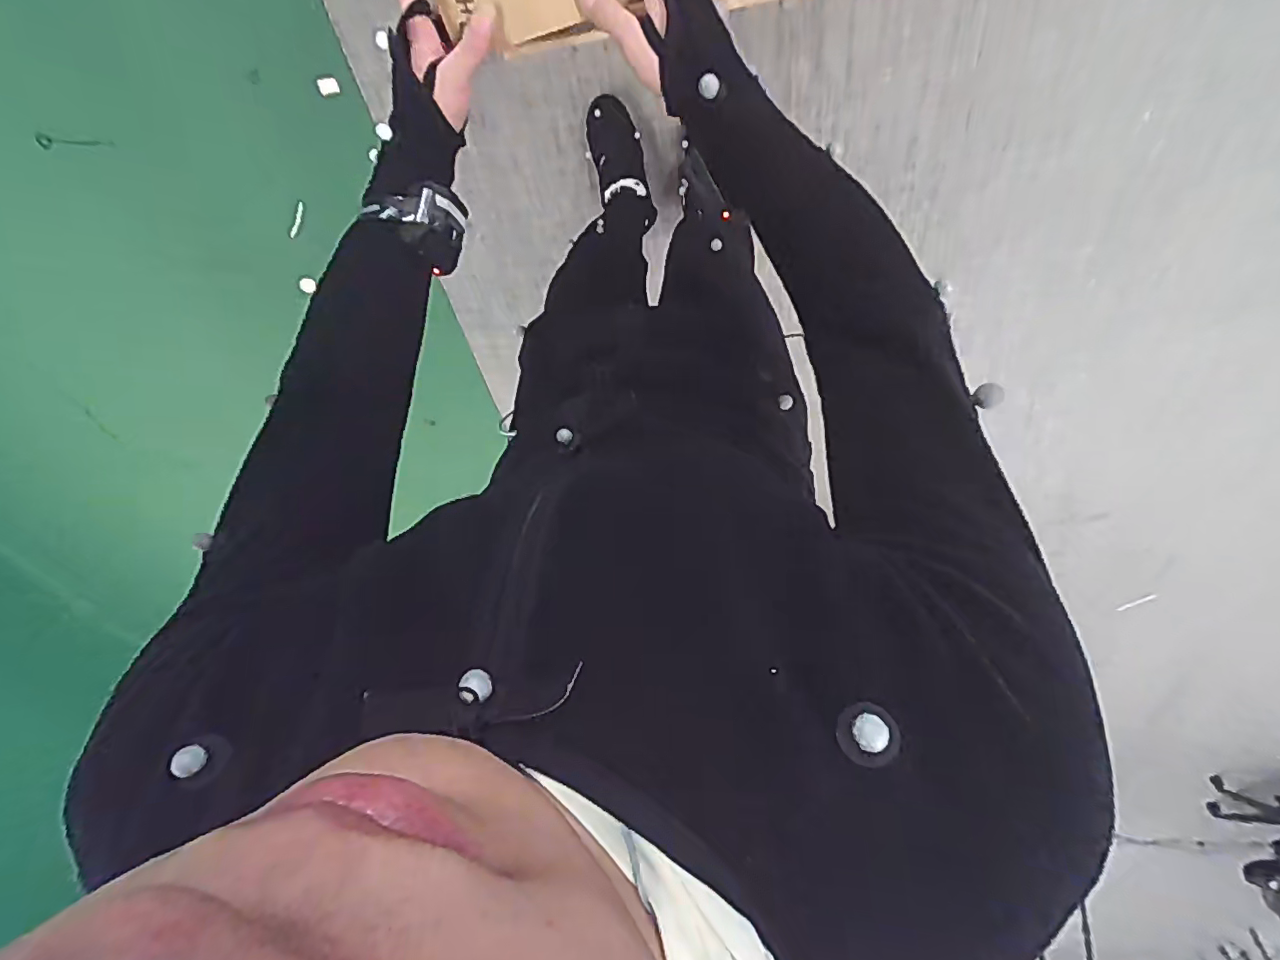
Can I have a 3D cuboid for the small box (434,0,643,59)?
[{"bbox_3d":[-0.093,-0.499,0.463,0.179,0.176,0.168,-5,136,15],"label":"small box"}]
